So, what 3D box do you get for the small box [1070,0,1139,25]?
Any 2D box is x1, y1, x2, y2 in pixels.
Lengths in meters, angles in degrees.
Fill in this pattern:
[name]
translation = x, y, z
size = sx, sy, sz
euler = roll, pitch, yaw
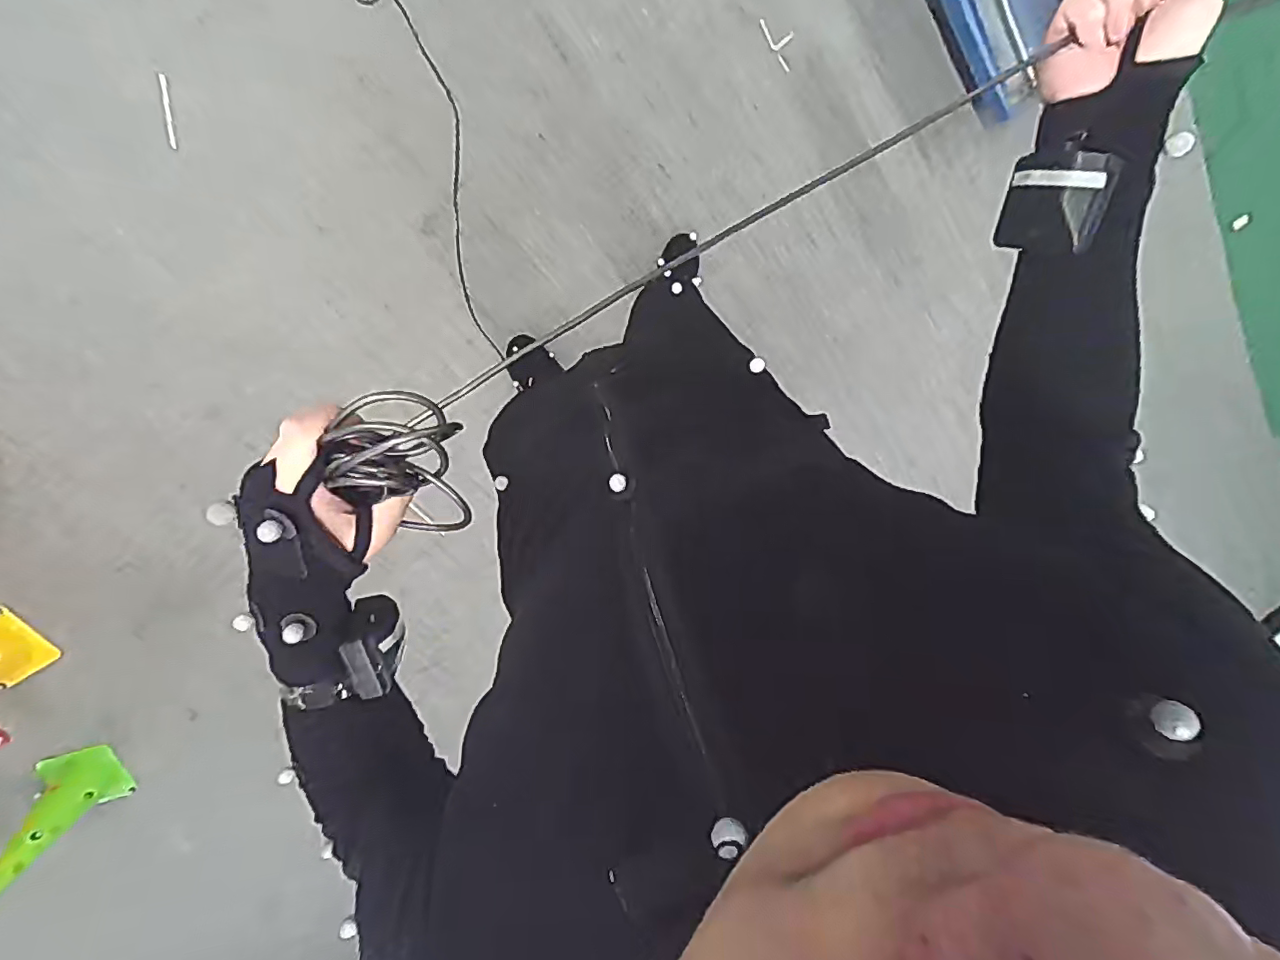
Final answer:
[small box]
translation = 1.083, -1.166, 1.184
size = 0.179, 0.176, 0.168
euler = -39, 112, 5
